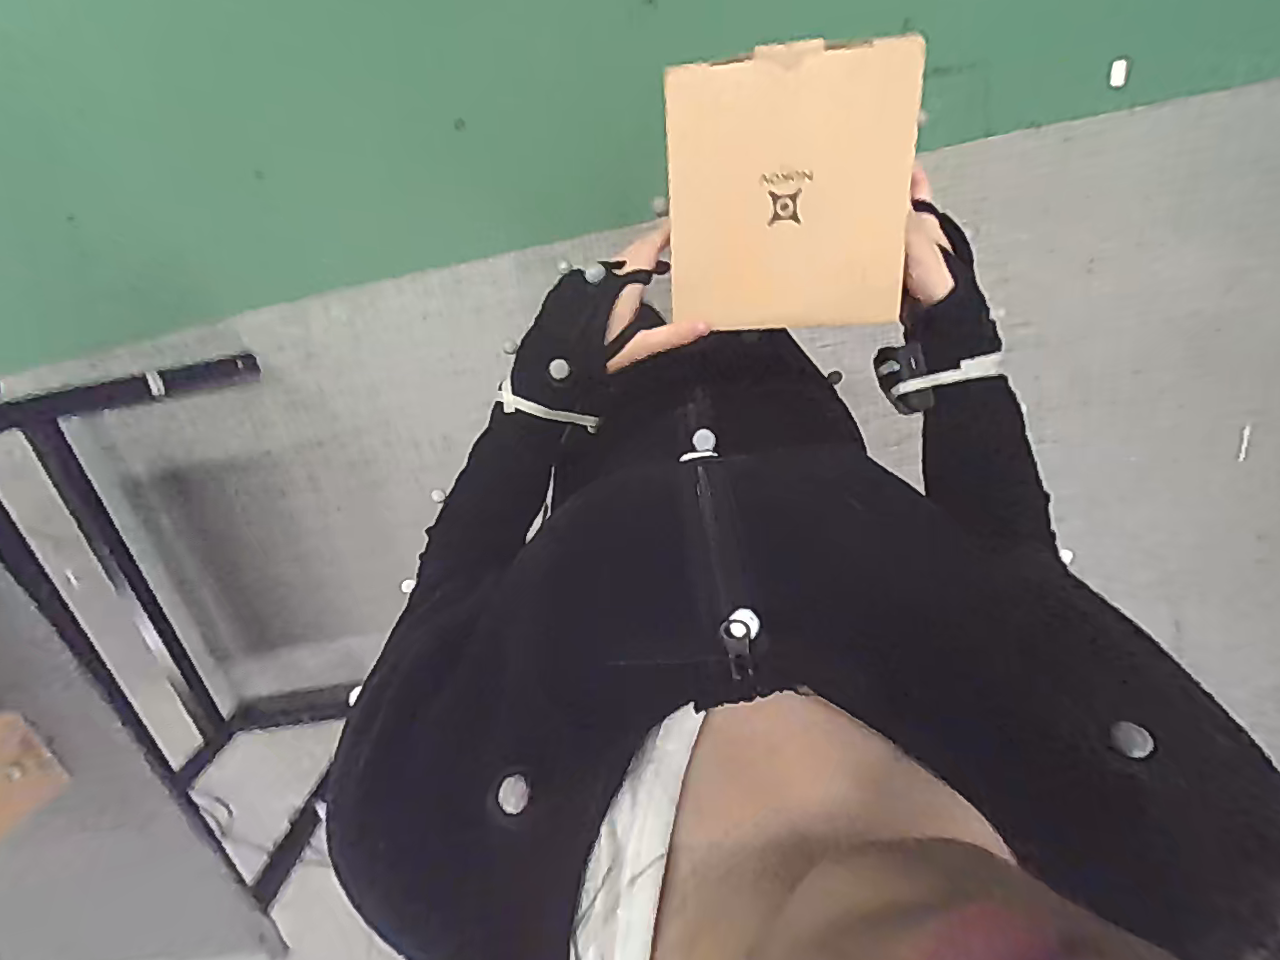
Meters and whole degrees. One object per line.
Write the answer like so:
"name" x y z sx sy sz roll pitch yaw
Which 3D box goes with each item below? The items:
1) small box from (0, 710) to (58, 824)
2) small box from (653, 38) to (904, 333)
"small box" -1.138 0.502 0.877 0.179 0.176 0.168 -9 111 5
"small box" 0.107 -0.222 0.457 0.168 0.176 0.179 -1 107 10
